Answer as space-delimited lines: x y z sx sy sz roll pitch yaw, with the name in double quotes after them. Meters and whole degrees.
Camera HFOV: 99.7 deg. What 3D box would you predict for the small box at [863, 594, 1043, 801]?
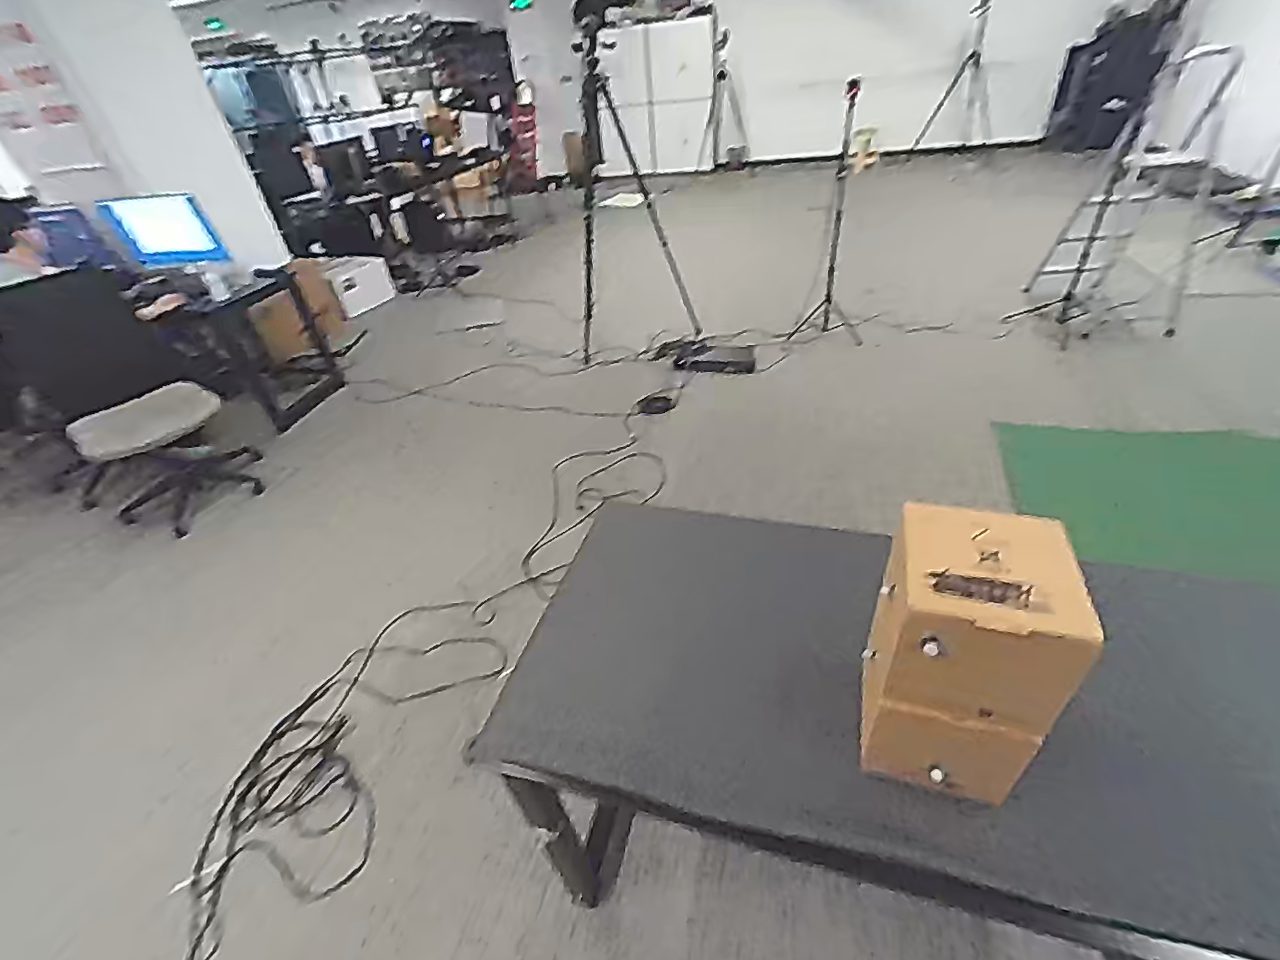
0.396 0.284 0.722 0.168 0.176 0.179 6 39 18 "small box"
